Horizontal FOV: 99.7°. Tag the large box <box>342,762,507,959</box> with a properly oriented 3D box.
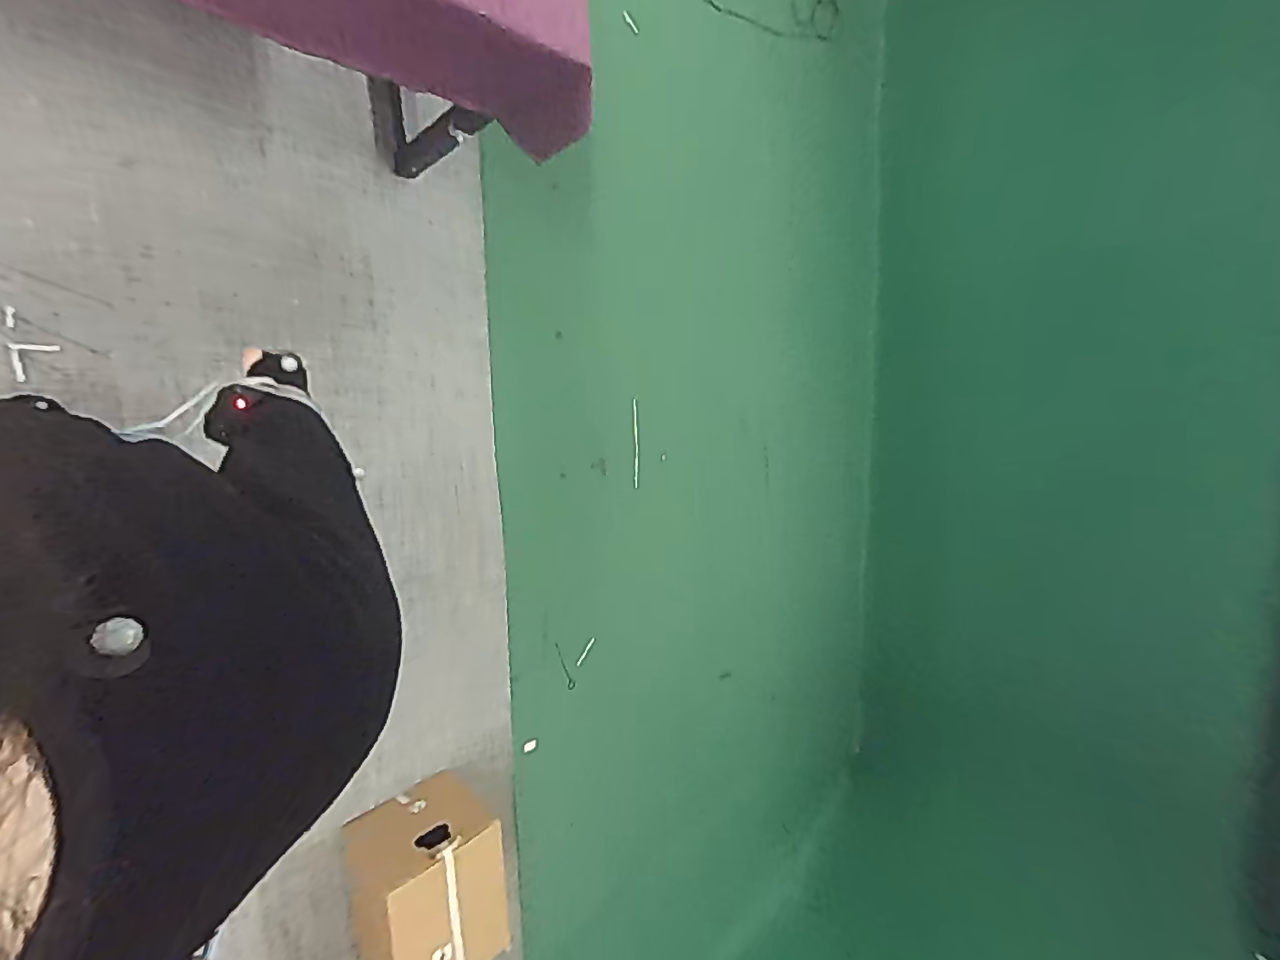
[{"bbox_3d":[-0.604,1.111,1.530,0.320,0.320,0.408,-11,104,-46],"label":"large box"}]
